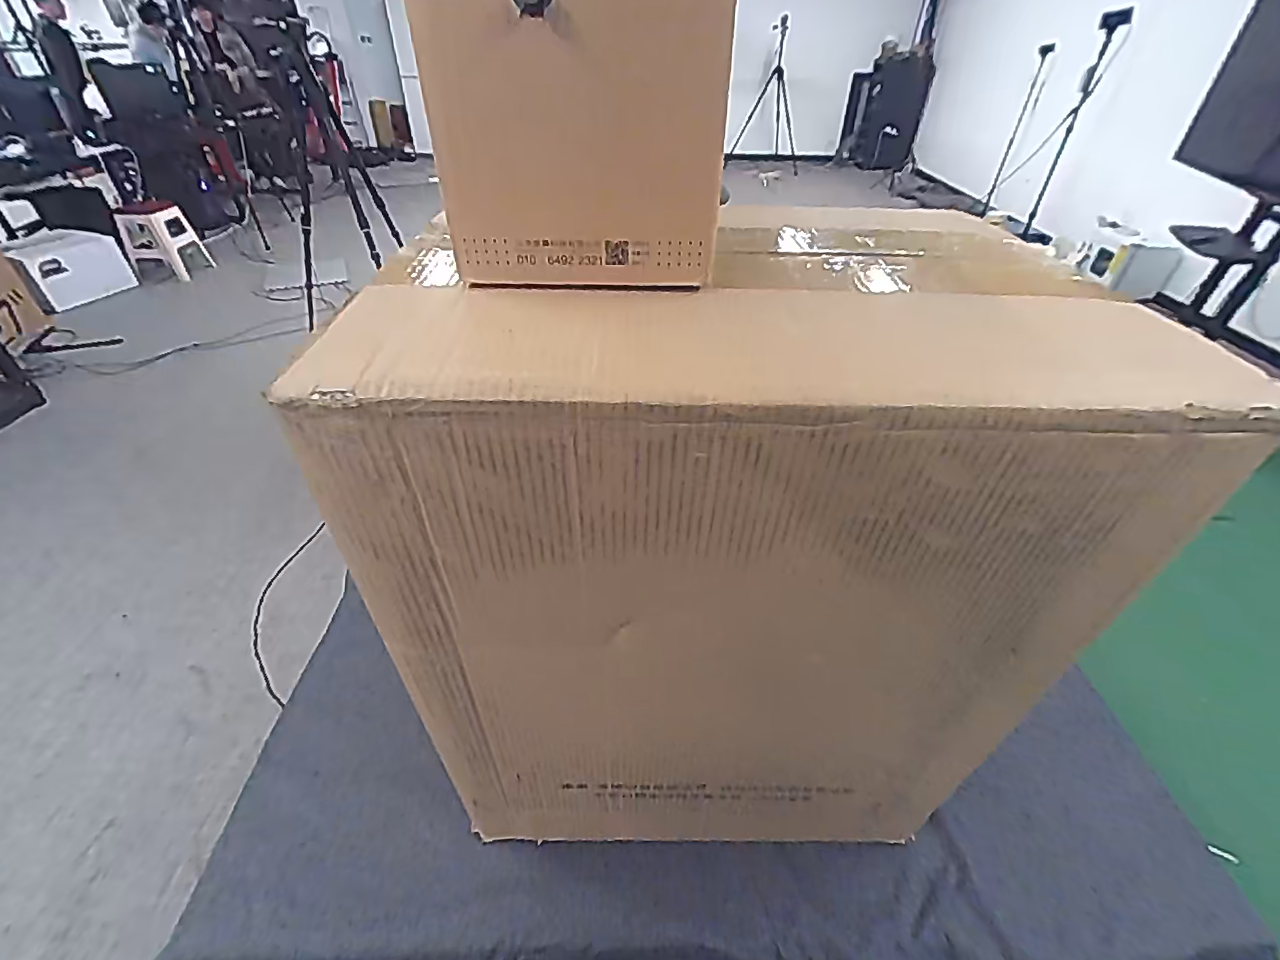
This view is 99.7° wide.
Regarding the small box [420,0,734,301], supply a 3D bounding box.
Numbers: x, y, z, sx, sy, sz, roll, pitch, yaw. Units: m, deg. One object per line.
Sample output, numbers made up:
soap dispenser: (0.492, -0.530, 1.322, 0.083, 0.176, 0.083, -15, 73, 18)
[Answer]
small box: (-0.034, -0.238, 0.380, 0.168, 0.176, 0.179, 1, 37, 0)
